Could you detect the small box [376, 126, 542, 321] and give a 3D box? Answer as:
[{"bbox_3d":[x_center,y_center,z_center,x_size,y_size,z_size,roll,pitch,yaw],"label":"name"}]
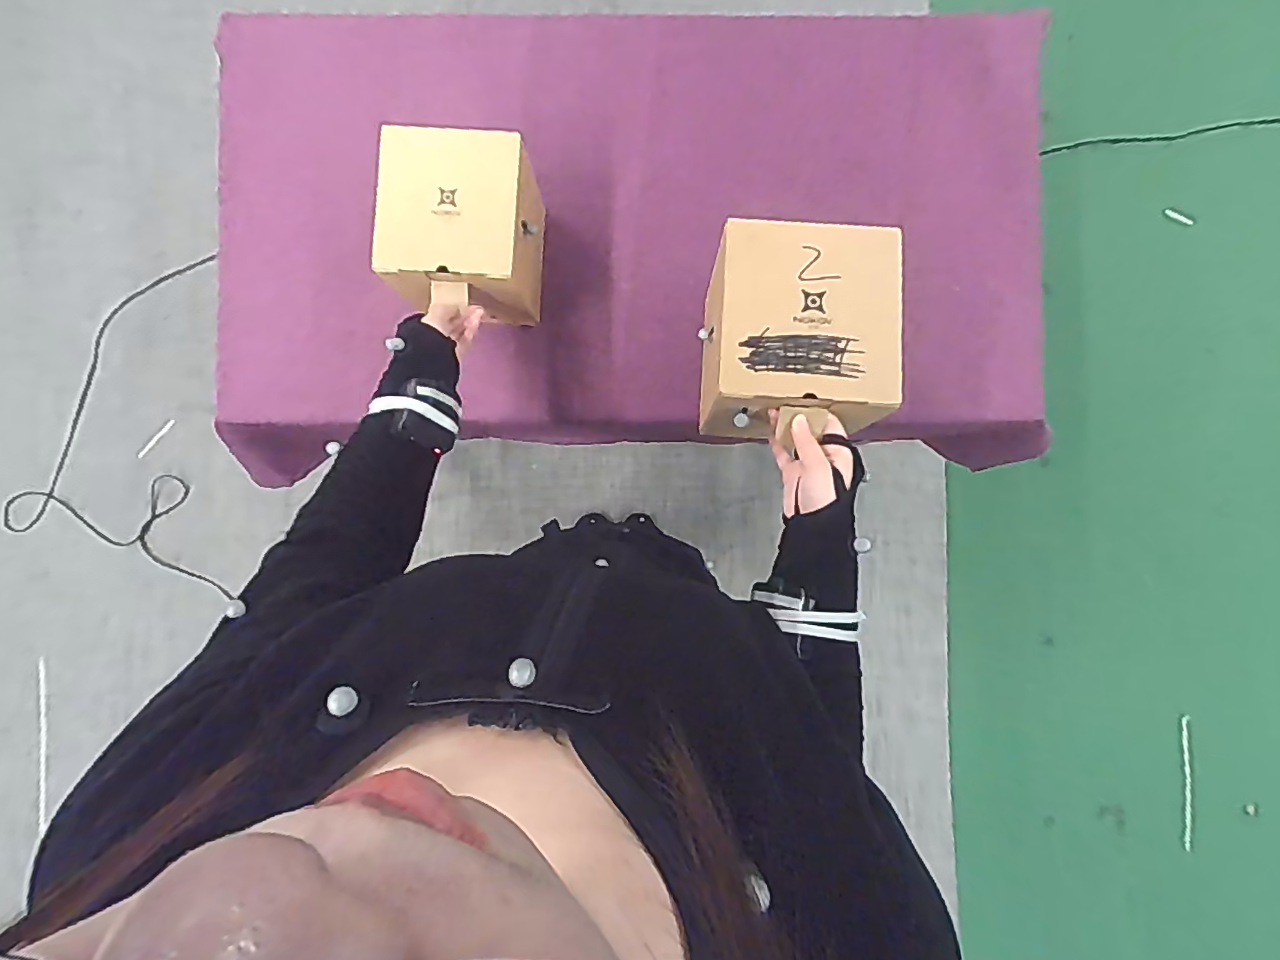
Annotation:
[{"bbox_3d":[-0.228,-0.330,0.726,0.168,0.176,0.179,3,89,0],"label":"small box"}]
